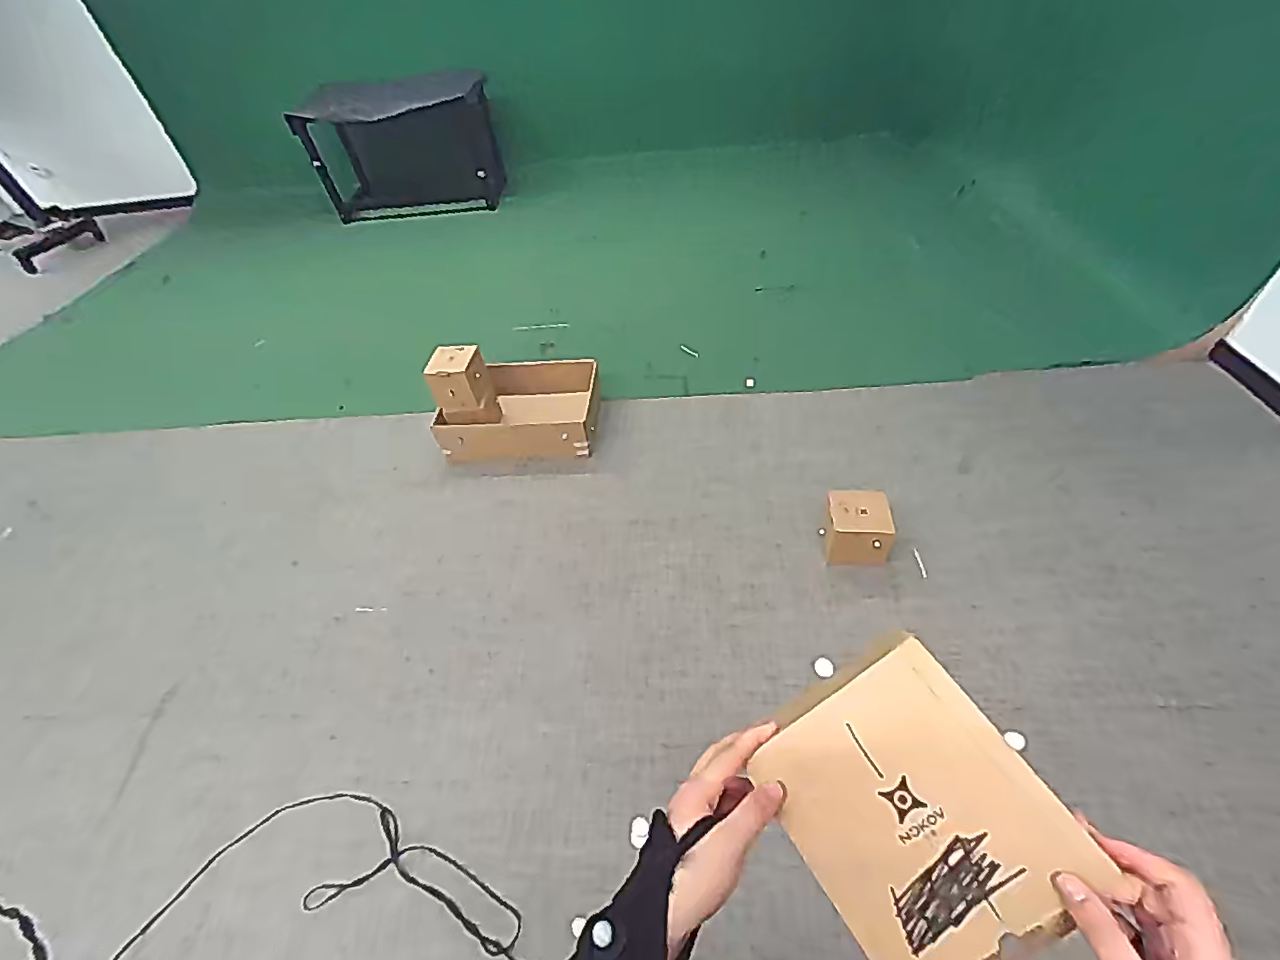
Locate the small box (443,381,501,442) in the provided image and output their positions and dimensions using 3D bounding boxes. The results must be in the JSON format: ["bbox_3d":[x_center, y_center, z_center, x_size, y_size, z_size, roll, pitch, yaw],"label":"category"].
[{"bbox_3d":[-0.676,-0.277,2.195,0.168,0.176,0.179,-4,49,4],"label":"small box"}]

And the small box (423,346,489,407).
[{"bbox_3d":[-0.701,-0.395,2.083,0.168,0.176,0.179,0,49,7],"label":"small box"}]

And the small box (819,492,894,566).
[{"bbox_3d":[0.672,0.156,1.695,0.179,0.176,0.168,2,47,9],"label":"small box"}]
